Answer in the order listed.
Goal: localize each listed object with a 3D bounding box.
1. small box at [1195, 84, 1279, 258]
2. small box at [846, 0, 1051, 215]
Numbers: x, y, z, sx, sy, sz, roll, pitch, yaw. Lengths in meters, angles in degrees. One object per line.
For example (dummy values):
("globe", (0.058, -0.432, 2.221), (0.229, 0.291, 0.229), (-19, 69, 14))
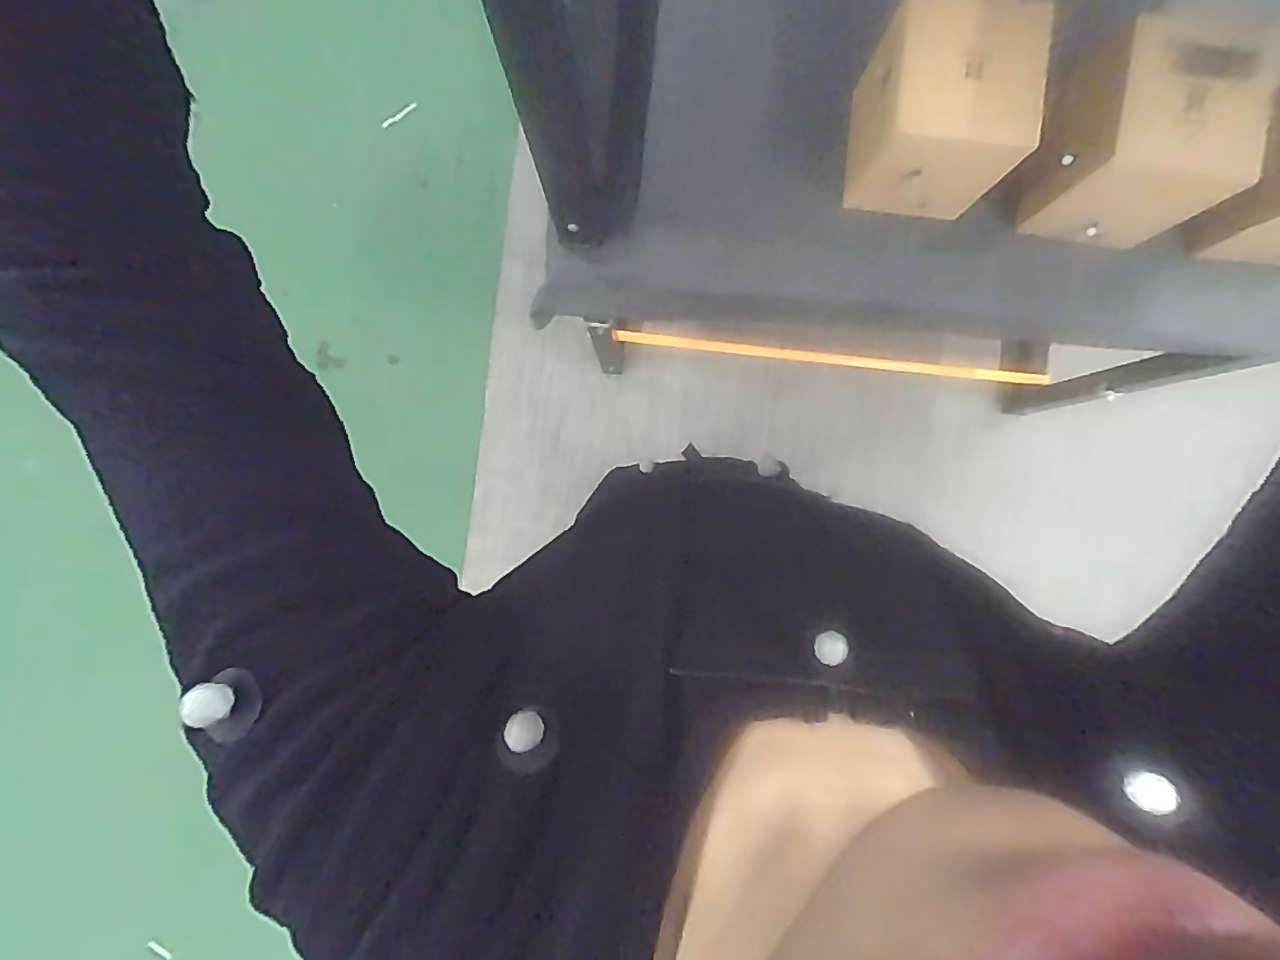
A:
("small box", (0.868, -0.401, 0.686), (0.168, 0.176, 0.179), (6, 87, 1))
("small box", (0.380, -0.471, 0.697), (0.168, 0.176, 0.179), (7, 88, 1))
